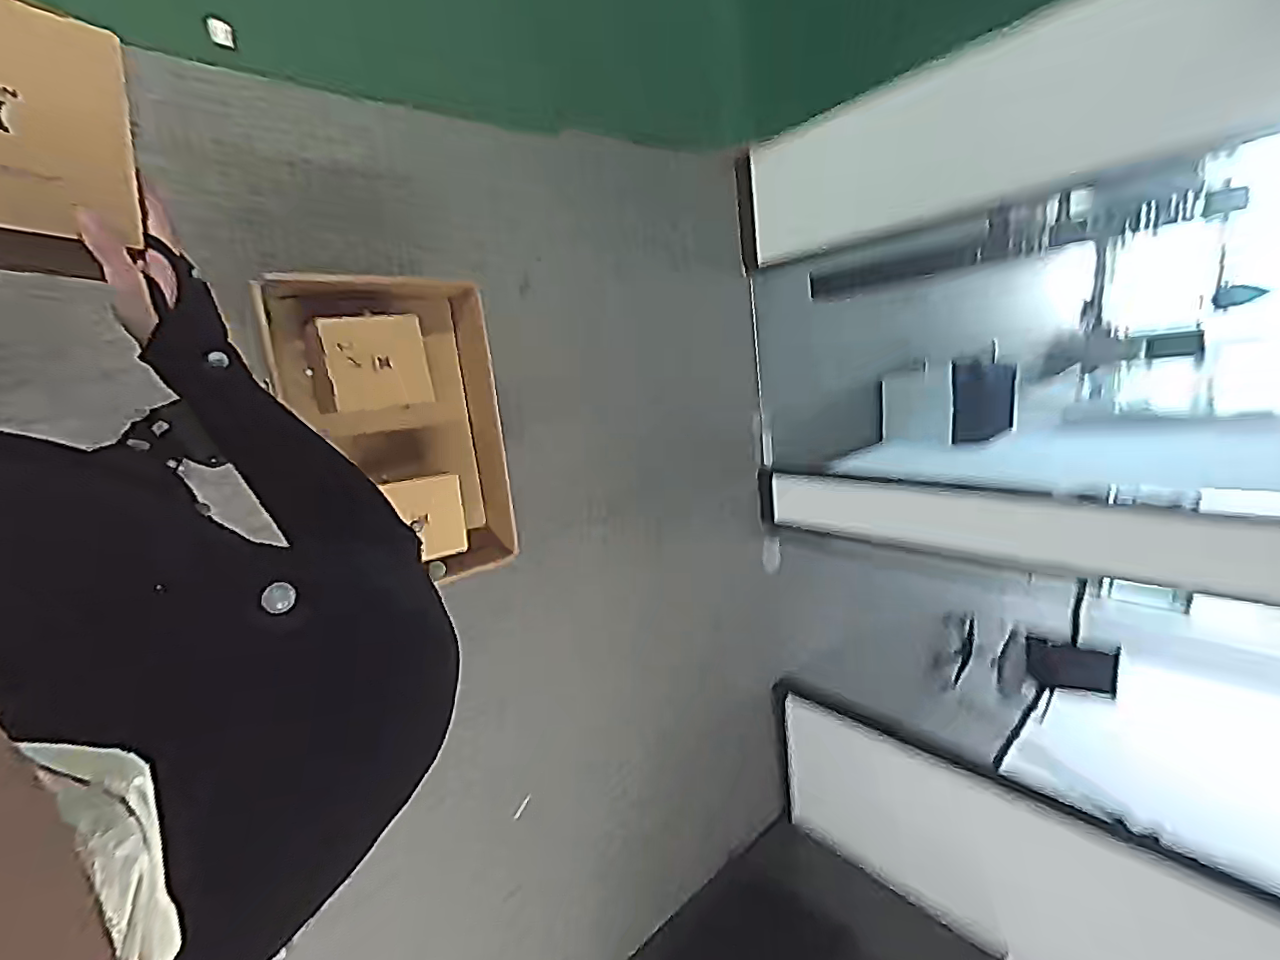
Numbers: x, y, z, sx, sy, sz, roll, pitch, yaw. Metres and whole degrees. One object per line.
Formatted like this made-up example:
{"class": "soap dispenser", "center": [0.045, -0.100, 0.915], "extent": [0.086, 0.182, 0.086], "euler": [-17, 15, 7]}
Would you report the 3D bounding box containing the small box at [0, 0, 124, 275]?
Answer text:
{"class": "small box", "center": [-0.550, -0.284, 0.438], "extent": [0.168, 0.176, 0.179], "euler": [-9, 100, -47]}
